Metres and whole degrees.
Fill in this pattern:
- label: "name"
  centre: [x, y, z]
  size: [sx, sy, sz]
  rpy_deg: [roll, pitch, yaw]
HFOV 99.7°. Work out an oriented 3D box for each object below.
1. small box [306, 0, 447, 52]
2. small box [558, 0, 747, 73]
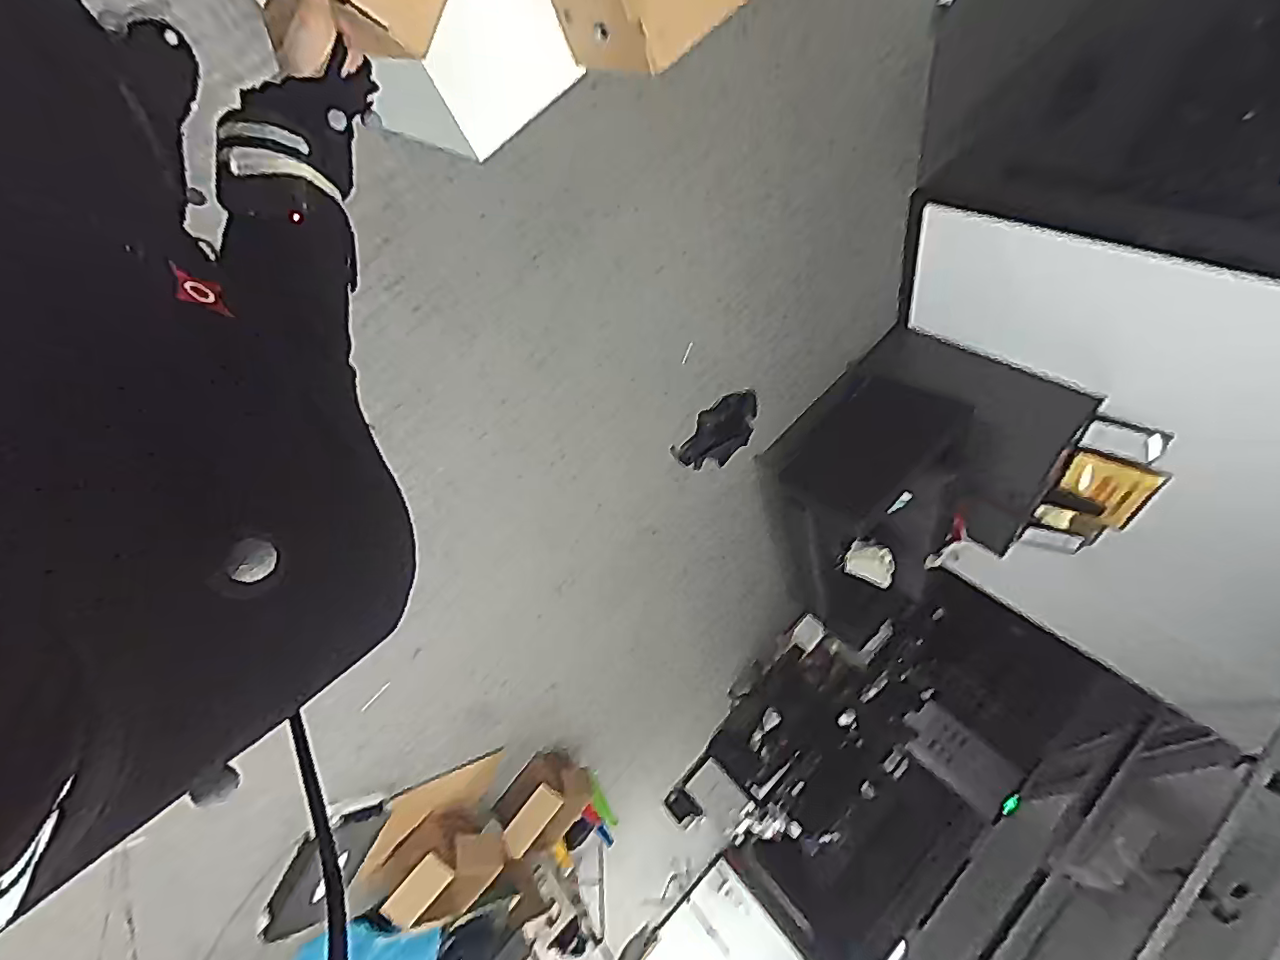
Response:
- label: "small box"
  centre: [-0.232, -0.474, 0.408]
  size: [0.168, 0.176, 0.179]
  rpy_deg: [13, 114, -47]
- label: "small box"
  centre: [0.000, -0.619, 0.633]
  size: [0.179, 0.176, 0.168]
  rpy_deg: [-46, 146, -9]
